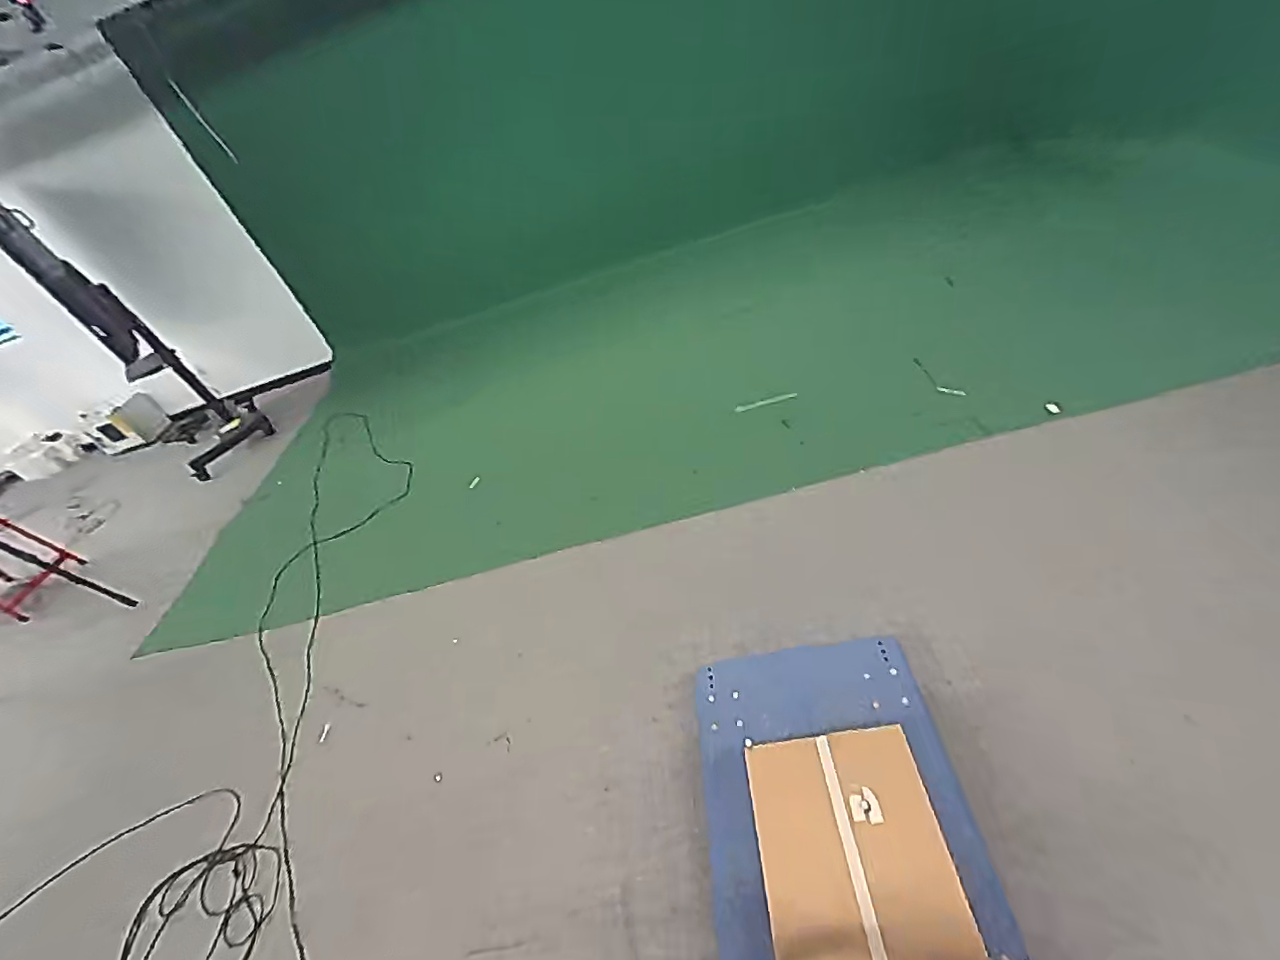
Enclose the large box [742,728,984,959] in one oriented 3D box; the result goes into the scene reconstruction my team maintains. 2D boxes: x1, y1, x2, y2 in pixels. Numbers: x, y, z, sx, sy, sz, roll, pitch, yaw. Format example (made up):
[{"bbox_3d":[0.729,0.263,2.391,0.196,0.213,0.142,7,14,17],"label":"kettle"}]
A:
[{"bbox_3d":[0.408,0.764,1.040,0.320,0.320,0.408,-13,39,11],"label":"large box"}]
